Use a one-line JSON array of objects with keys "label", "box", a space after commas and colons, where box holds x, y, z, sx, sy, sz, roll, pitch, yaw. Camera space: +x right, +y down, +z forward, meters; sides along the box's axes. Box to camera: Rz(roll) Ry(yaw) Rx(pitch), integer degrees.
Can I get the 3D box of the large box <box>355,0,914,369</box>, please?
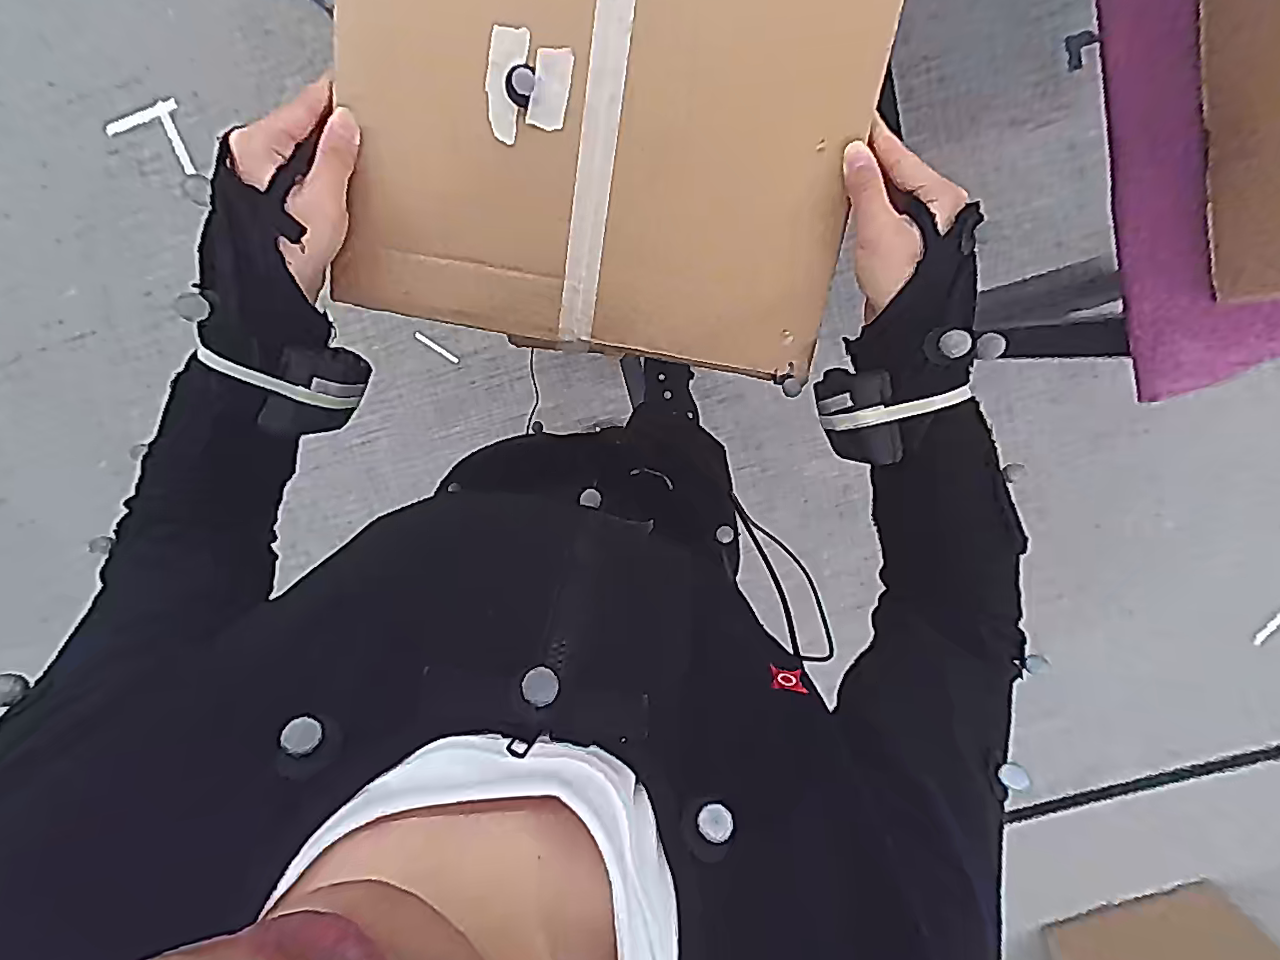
[{"label": "large box", "box": [-0.003, -0.324, 0.436, 0.320, 0.320, 0.408, 8, 106, -3]}]
